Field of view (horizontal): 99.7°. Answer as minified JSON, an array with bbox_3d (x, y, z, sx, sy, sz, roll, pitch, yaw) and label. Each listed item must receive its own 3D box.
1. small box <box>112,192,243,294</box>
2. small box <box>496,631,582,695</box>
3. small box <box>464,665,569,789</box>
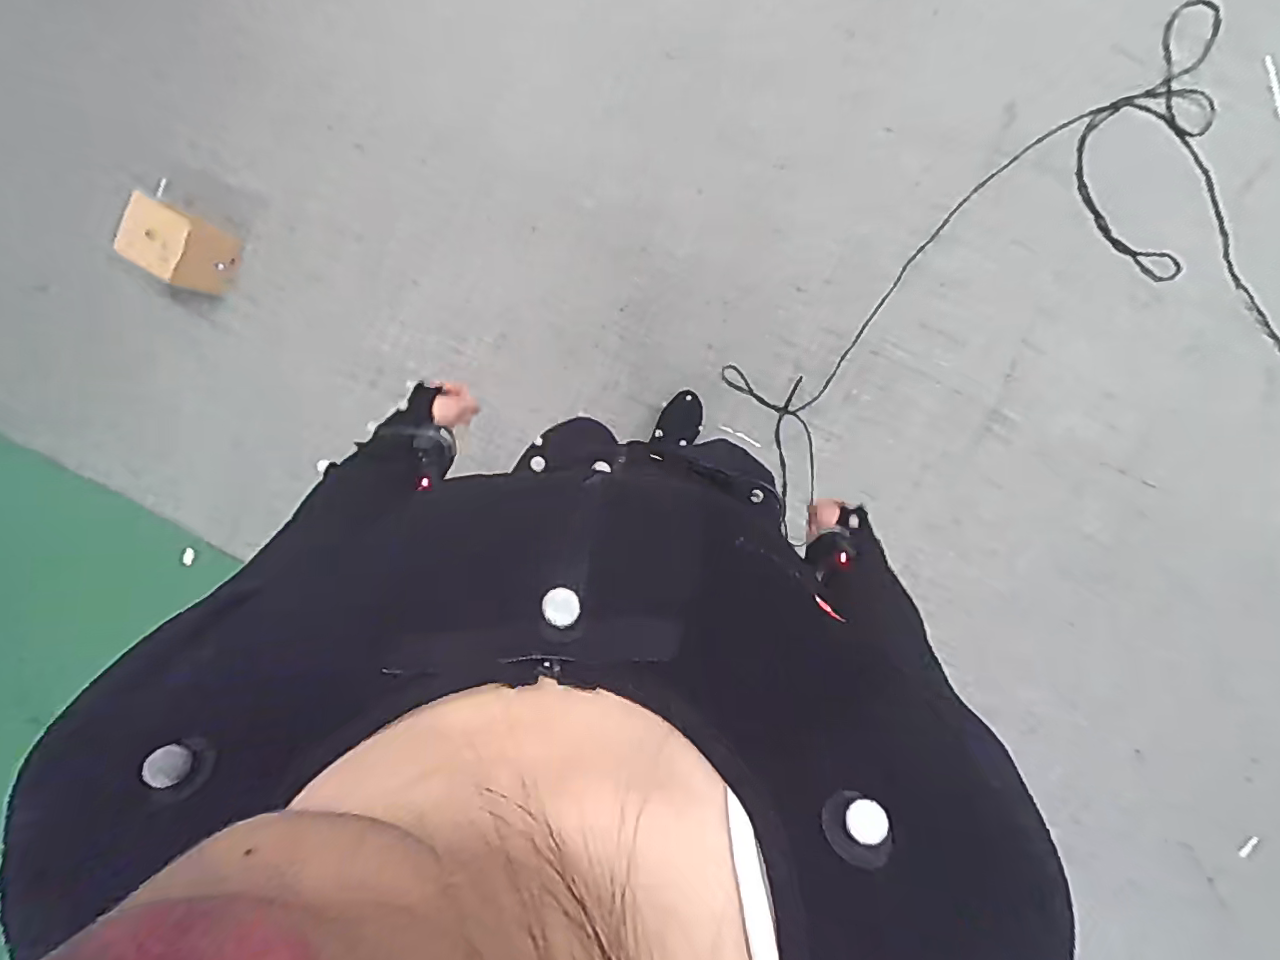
[{"bbox_3d":[-1.224,-0.620,1.441,0.179,0.176,0.168,31,100,1],"label":"small box"},{"bbox_3d":[-0.270,0.539,1.445,0.168,0.176,0.179,24,98,2],"label":"small box"},{"bbox_3d":[-0.283,0.575,1.285,0.168,0.176,0.179,29,98,1],"label":"small box"}]
